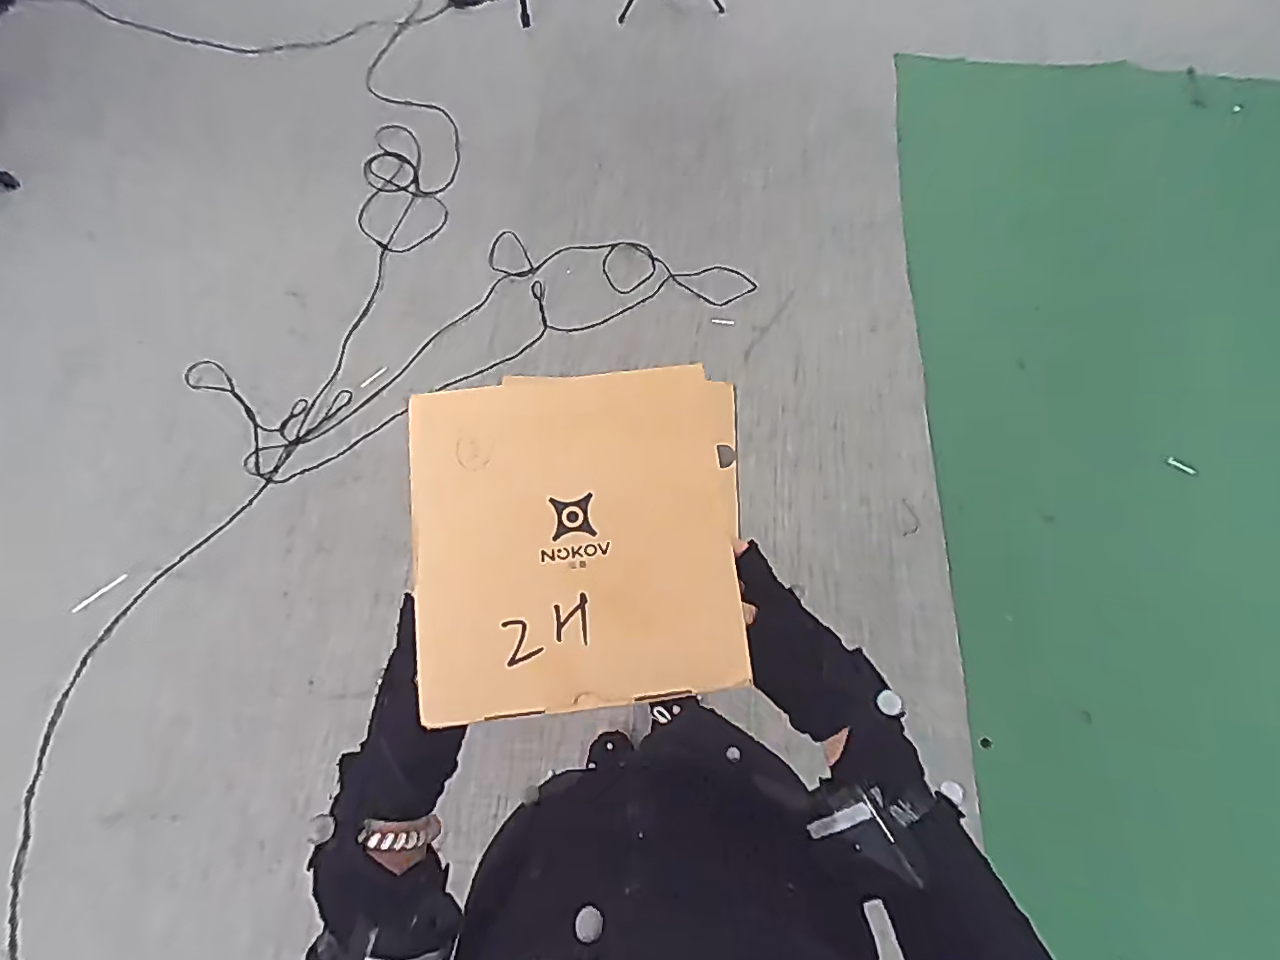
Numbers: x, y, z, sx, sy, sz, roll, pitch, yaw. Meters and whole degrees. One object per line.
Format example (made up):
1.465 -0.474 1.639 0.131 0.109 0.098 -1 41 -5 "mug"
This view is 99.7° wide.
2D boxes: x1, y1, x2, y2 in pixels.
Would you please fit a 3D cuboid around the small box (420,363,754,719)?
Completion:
-0.034 0.042 0.363 0.168 0.176 0.179 -7 79 -2 "small box"
